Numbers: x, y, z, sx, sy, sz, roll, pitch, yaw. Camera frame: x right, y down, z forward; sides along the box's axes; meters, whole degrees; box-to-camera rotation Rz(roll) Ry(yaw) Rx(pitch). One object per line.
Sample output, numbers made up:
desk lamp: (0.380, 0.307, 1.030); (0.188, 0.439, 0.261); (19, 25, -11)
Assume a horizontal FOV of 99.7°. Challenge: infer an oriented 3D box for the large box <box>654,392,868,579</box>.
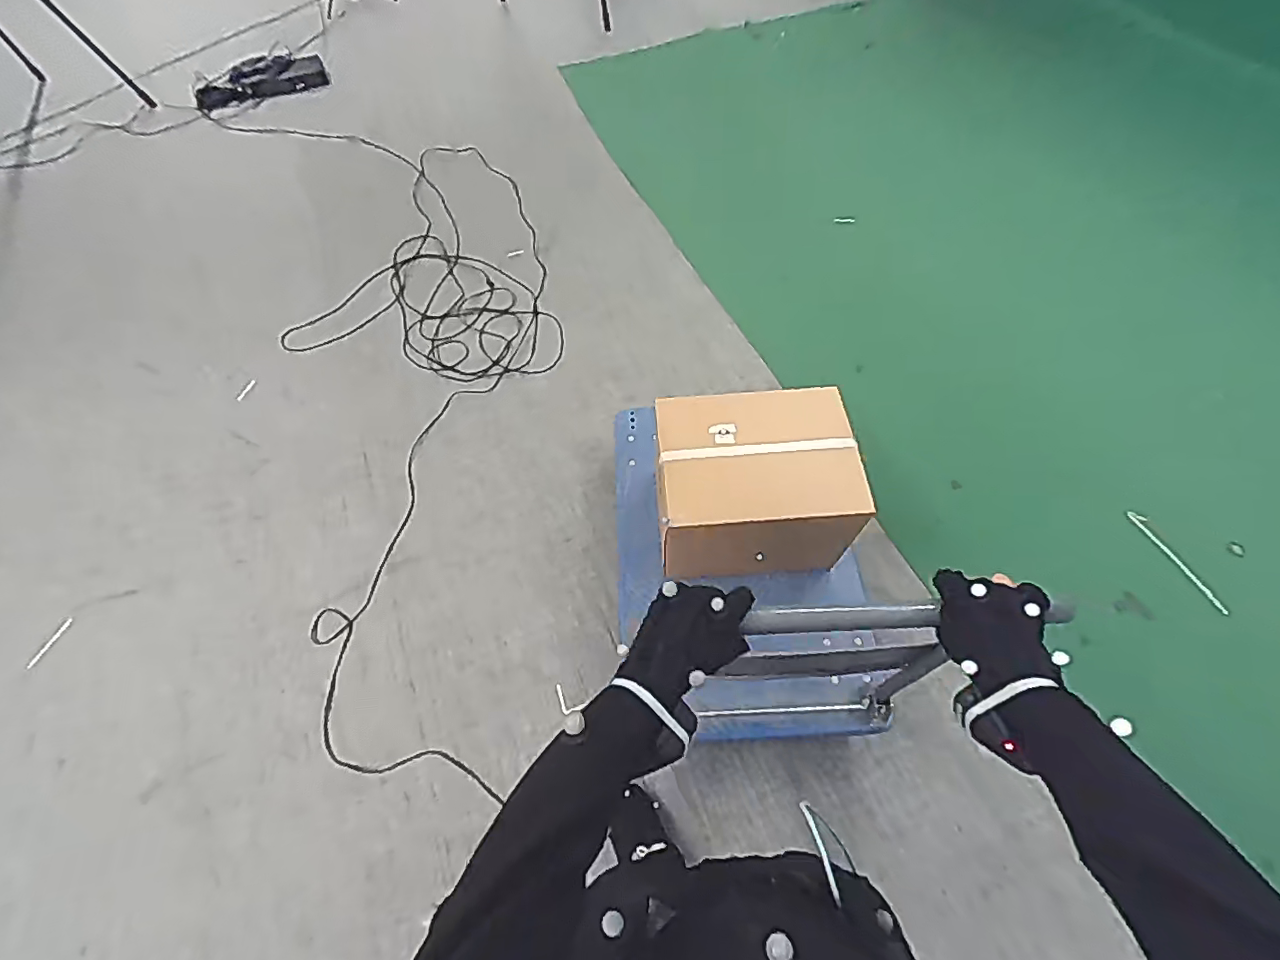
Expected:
large box: (0.247, 0.025, 1.254); (0.408, 0.320, 0.320); (-4, 60, 0)
